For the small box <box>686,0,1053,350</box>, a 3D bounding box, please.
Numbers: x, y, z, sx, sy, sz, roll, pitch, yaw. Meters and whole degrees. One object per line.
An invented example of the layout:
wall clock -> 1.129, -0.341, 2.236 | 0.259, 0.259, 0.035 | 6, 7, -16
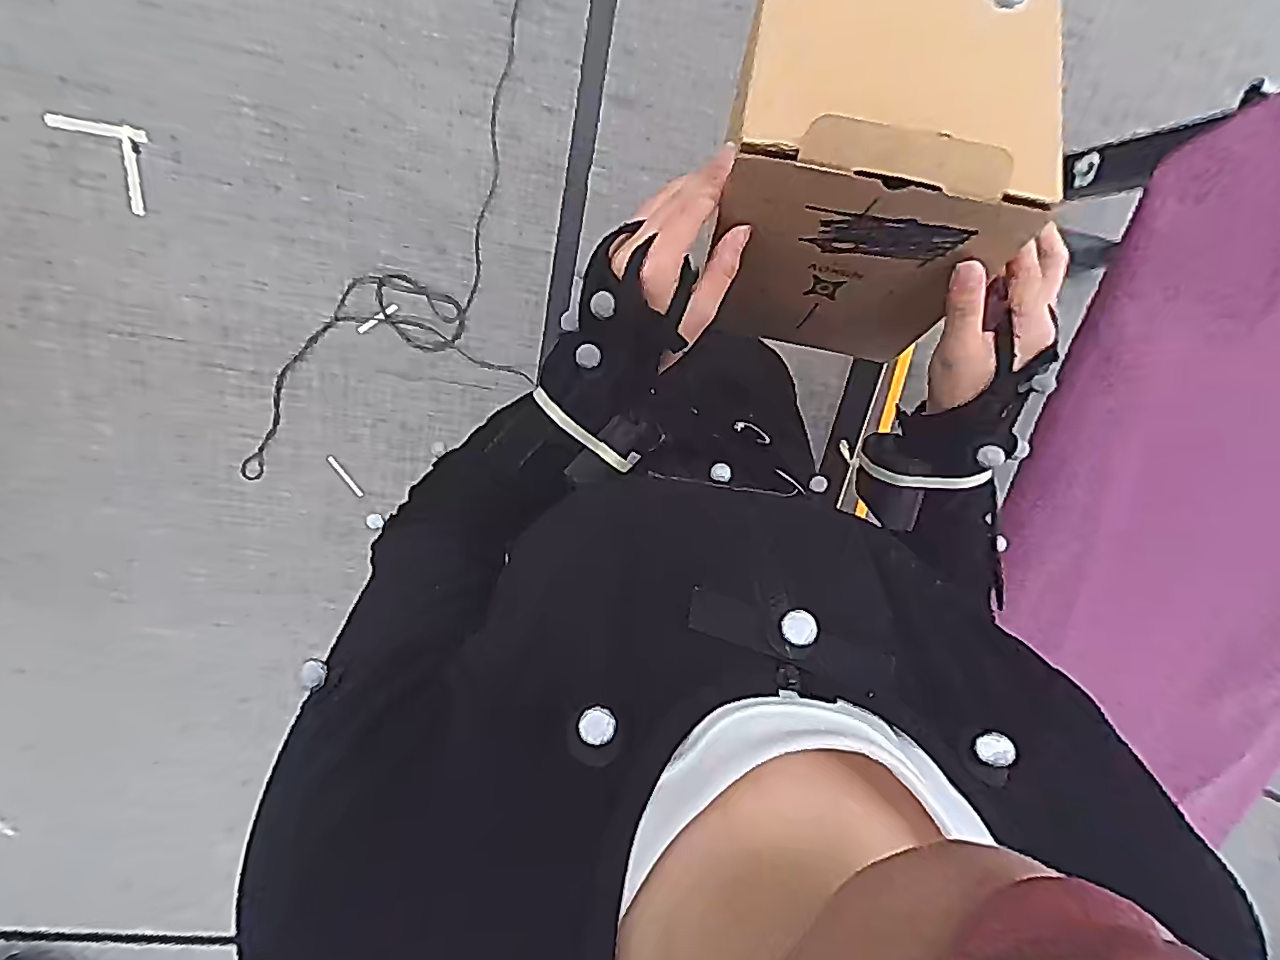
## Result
small box -> 0.133, -0.216, 0.367 | 0.168, 0.179, 0.176 | 11, 75, 1
